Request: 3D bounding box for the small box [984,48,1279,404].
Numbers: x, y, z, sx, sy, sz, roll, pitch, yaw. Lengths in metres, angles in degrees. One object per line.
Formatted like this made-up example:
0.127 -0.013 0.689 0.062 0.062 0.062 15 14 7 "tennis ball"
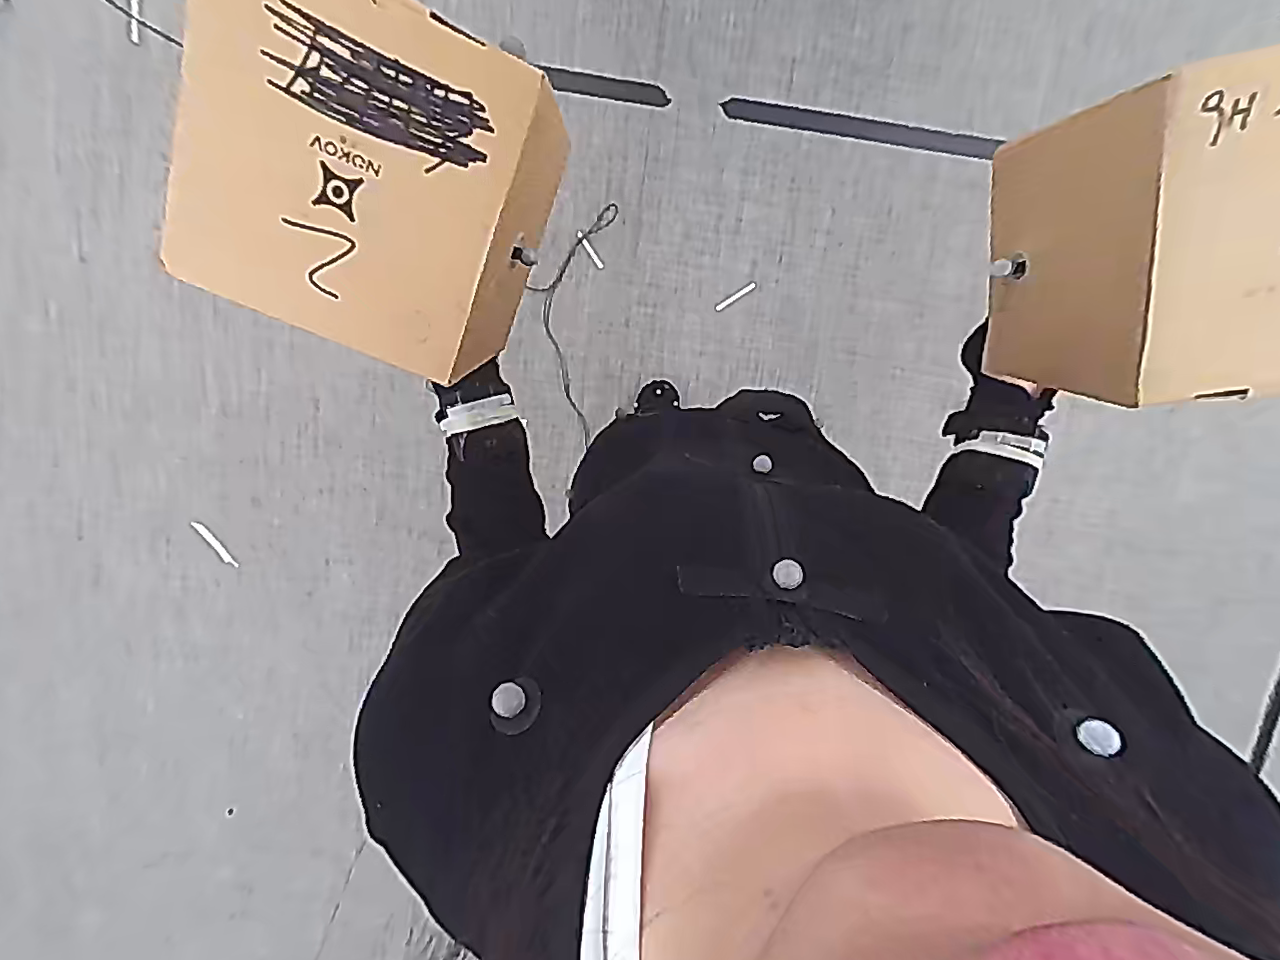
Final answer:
0.361 -0.164 0.366 0.168 0.176 0.179 -8 109 7 "small box"
